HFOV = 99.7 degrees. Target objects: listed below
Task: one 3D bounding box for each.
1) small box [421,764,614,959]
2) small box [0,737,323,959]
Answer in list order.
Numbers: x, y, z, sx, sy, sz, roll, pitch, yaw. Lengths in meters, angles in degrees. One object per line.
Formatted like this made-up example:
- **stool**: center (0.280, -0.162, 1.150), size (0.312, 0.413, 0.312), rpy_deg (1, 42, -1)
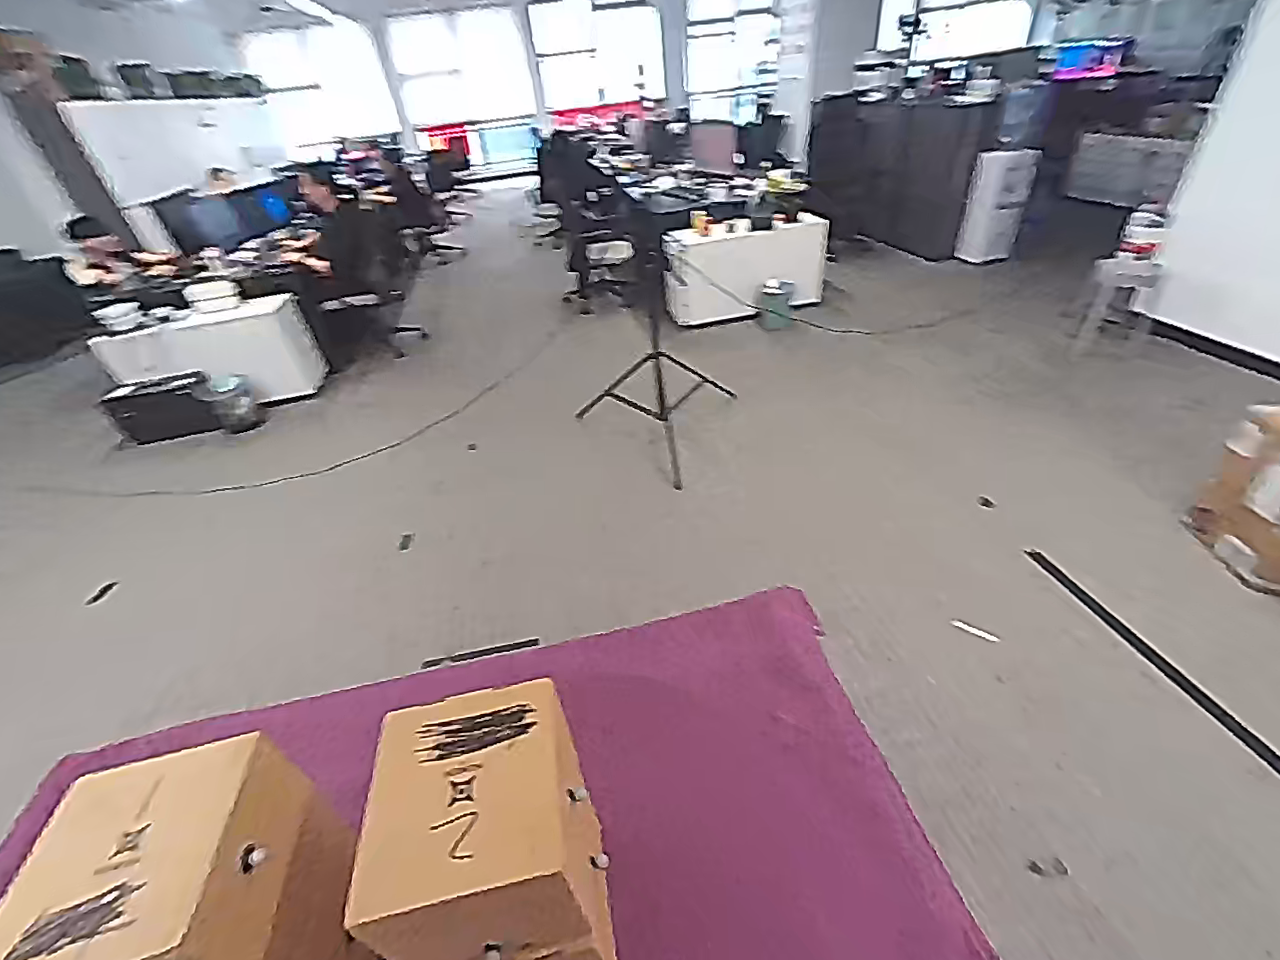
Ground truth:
- **small box**: center (-0.129, 0.464, 0.611), size (0.168, 0.176, 0.179), rpy_deg (-12, 36, -6)
- **small box**: center (-0.425, 0.380, 0.498), size (0.168, 0.176, 0.179), rpy_deg (-13, 36, -8)
